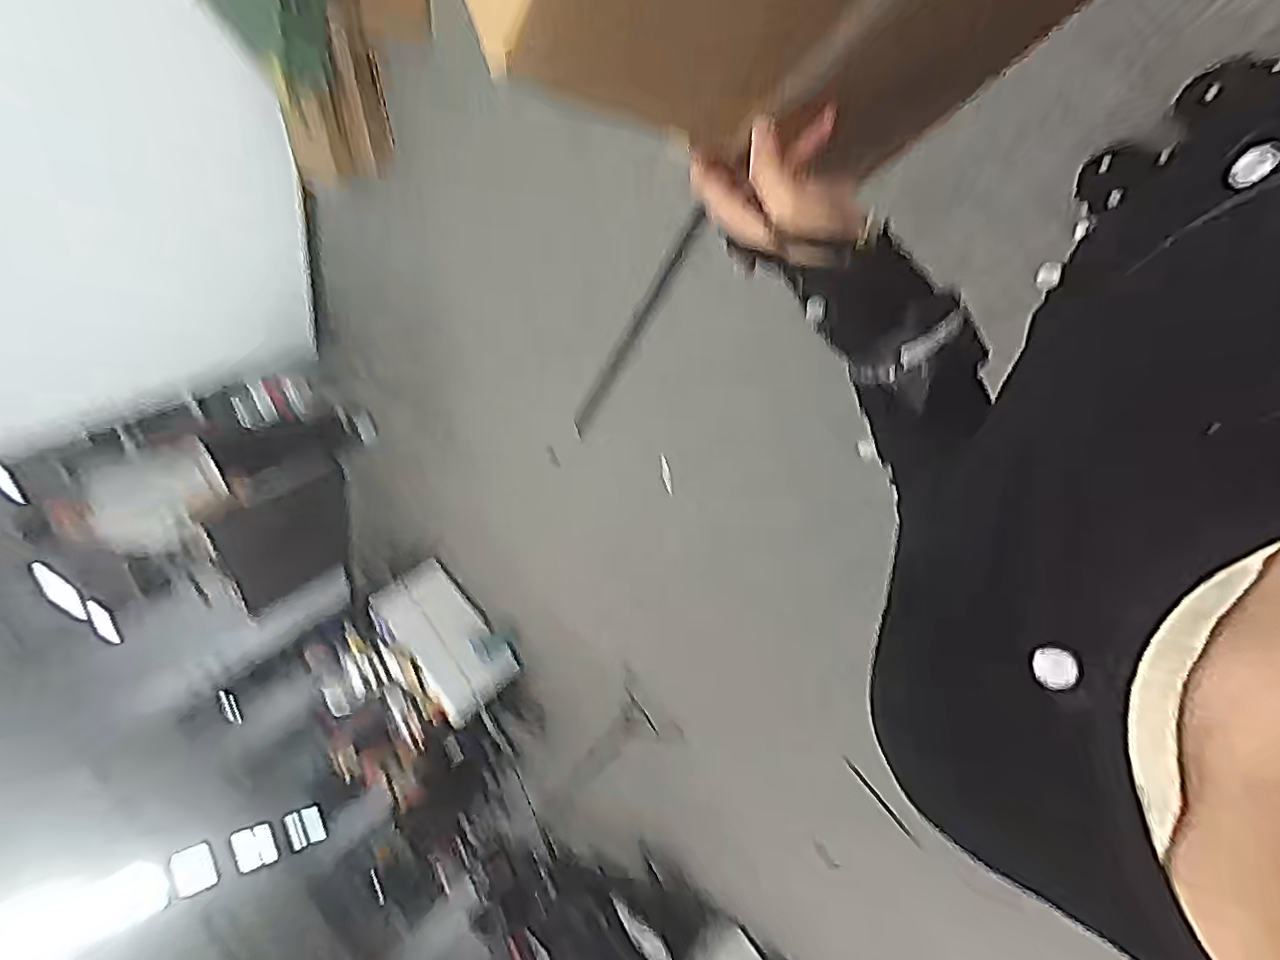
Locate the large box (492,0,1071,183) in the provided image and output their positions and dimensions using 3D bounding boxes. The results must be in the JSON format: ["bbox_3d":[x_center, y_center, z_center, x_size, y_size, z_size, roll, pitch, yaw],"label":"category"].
[{"bbox_3d":[0.116,-0.411,0.209,0.408,0.320,0.320,-29,78,50],"label":"large box"}]
